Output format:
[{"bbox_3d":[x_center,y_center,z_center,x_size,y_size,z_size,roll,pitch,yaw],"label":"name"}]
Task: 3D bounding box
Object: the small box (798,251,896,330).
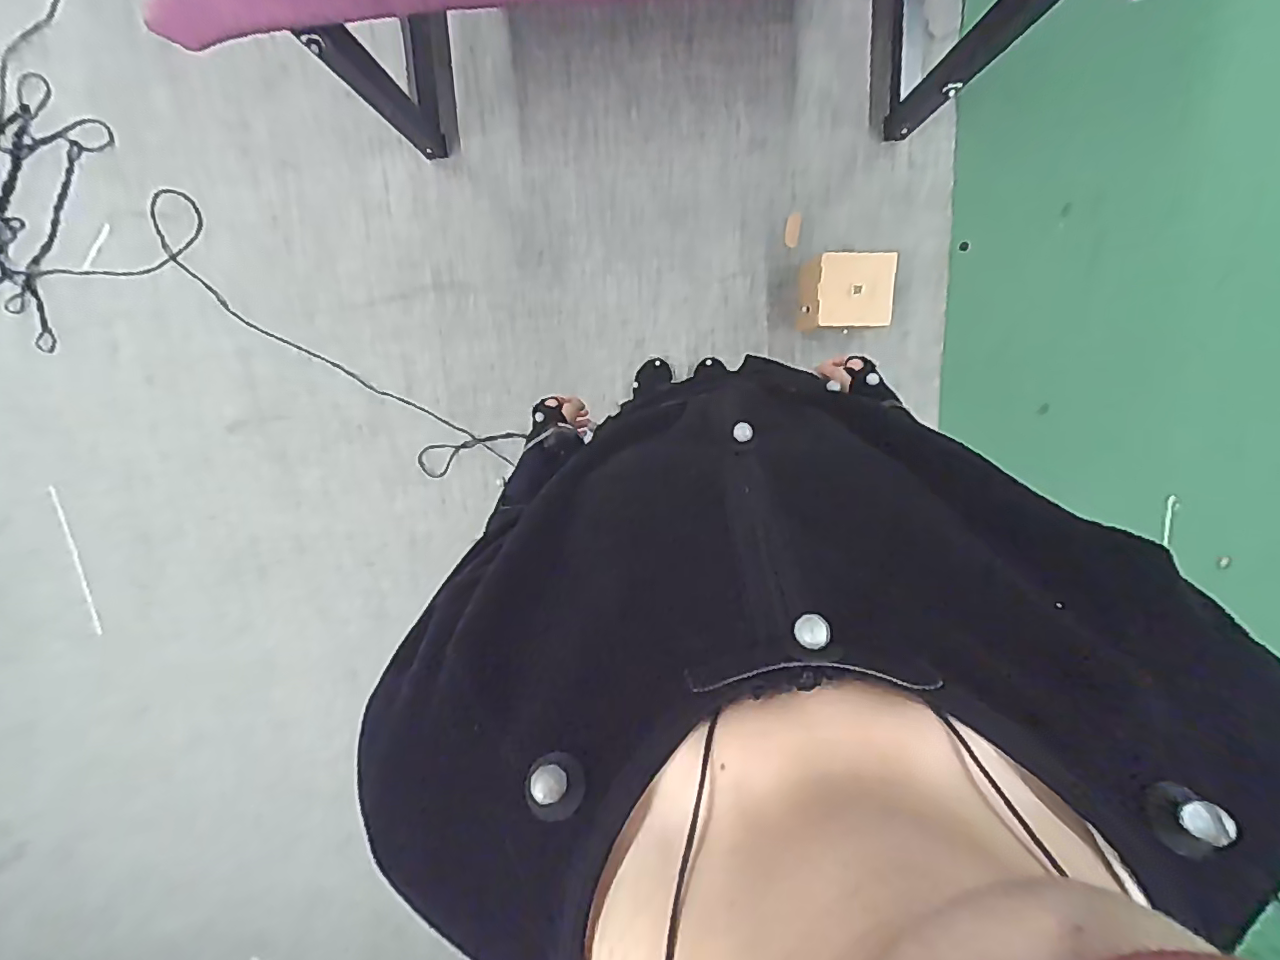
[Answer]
[{"bbox_3d":[0.499,-0.460,1.332,0.179,0.176,0.168,0,102,0],"label":"small box"}]
